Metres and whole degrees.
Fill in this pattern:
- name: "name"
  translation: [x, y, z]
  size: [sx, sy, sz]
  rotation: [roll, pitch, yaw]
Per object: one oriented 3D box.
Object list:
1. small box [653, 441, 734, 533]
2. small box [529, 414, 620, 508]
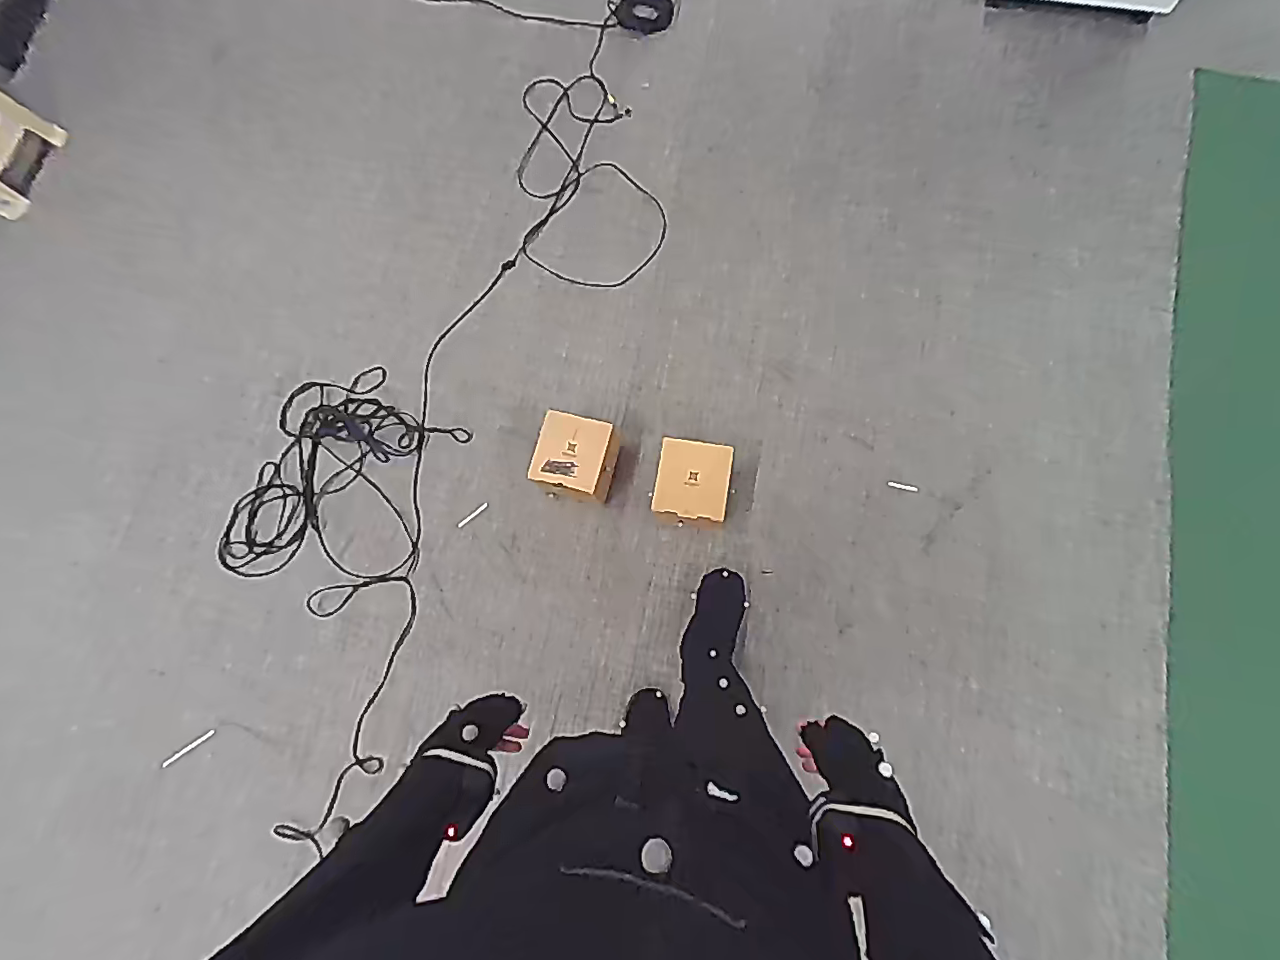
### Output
- name: "small box"
  translation: [0.127, 0.022, 1.310]
  size: [0.168, 0.176, 0.179]
  rotation: [9, 78, 7]
- name: "small box"
  translation: [-0.155, -0.041, 1.346]
  size: [0.168, 0.176, 0.179]
  rotation: [14, 77, 8]
